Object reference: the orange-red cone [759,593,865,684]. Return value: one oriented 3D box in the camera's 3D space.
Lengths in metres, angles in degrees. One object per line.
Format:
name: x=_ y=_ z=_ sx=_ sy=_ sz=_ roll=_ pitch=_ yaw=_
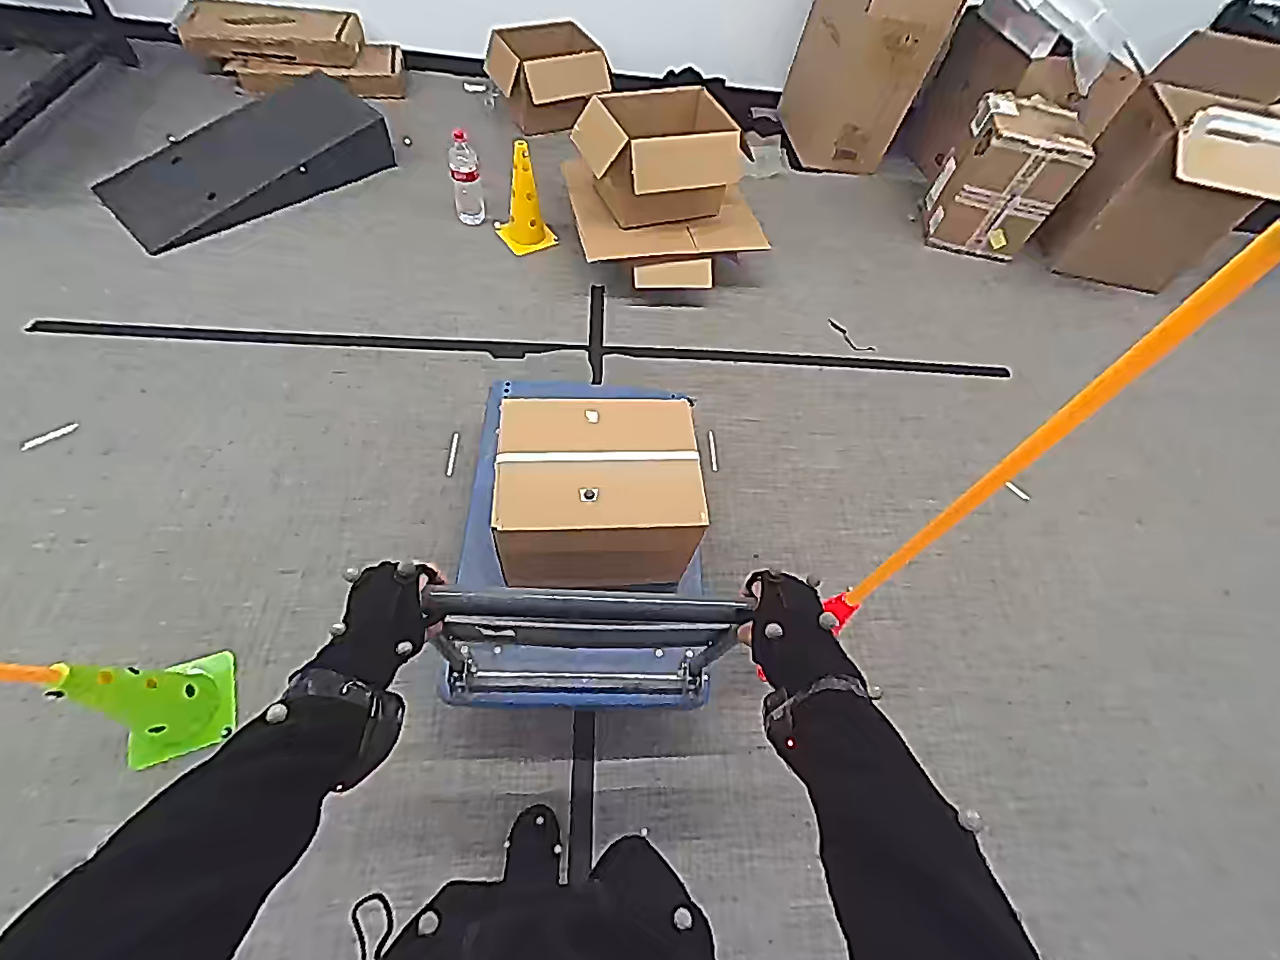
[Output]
orange-red cone: x=0.432 y=0.339 z=1.272 sx=0.199 sy=0.360 sz=0.198 roll=8 pitch=59 yaw=-4
